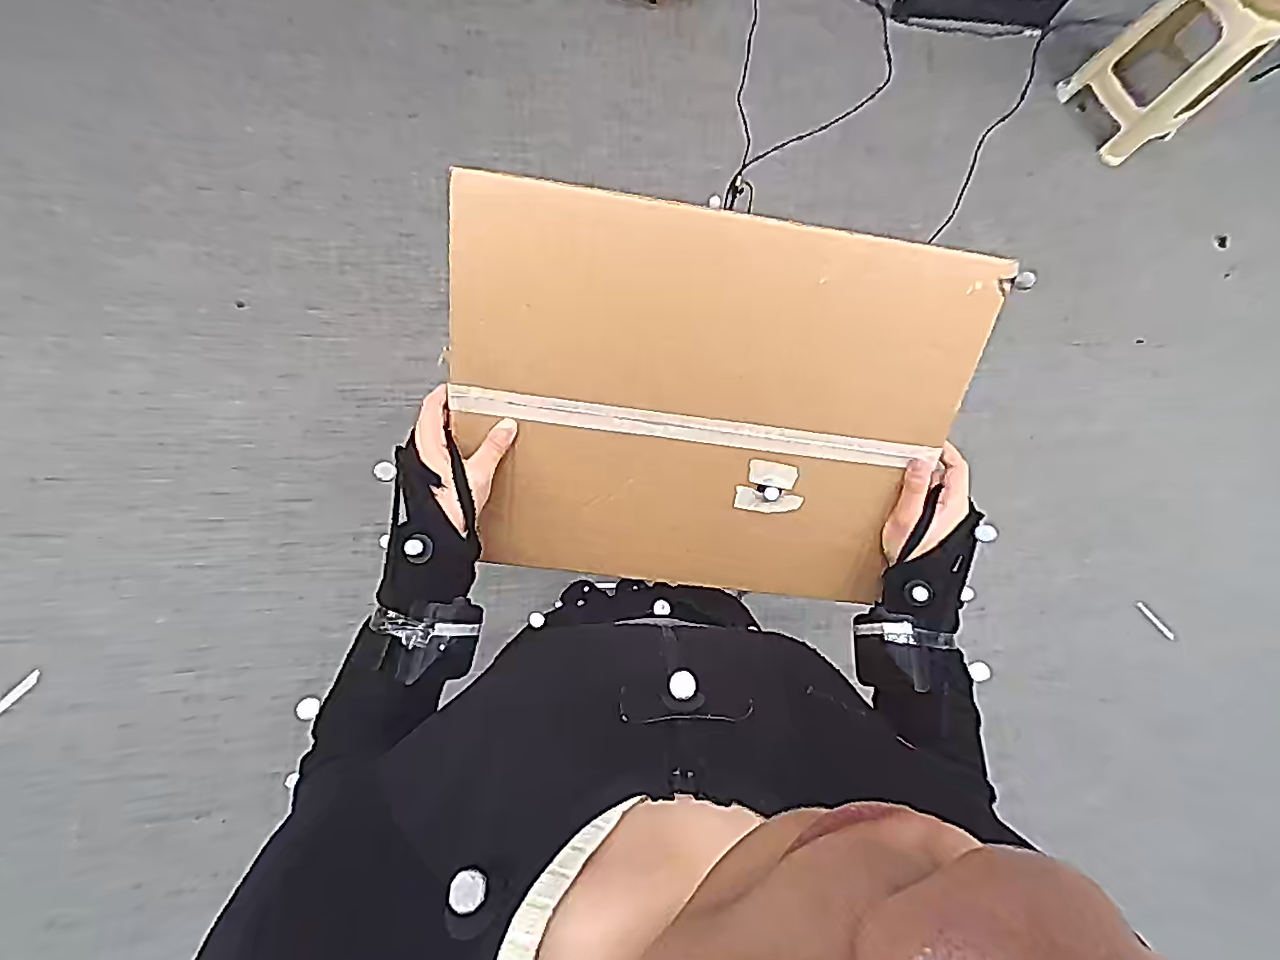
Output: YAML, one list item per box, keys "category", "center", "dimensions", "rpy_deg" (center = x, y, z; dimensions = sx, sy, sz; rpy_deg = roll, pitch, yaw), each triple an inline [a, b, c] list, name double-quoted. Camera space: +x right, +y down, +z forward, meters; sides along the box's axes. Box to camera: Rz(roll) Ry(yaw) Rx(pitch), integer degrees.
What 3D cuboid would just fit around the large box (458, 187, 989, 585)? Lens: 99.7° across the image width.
- category: "large box"
  center: [0.044, -0.113, 0.589]
  dimensions: [0.408, 0.320, 0.320]
  rpy_deg: [6, 117, -6]
